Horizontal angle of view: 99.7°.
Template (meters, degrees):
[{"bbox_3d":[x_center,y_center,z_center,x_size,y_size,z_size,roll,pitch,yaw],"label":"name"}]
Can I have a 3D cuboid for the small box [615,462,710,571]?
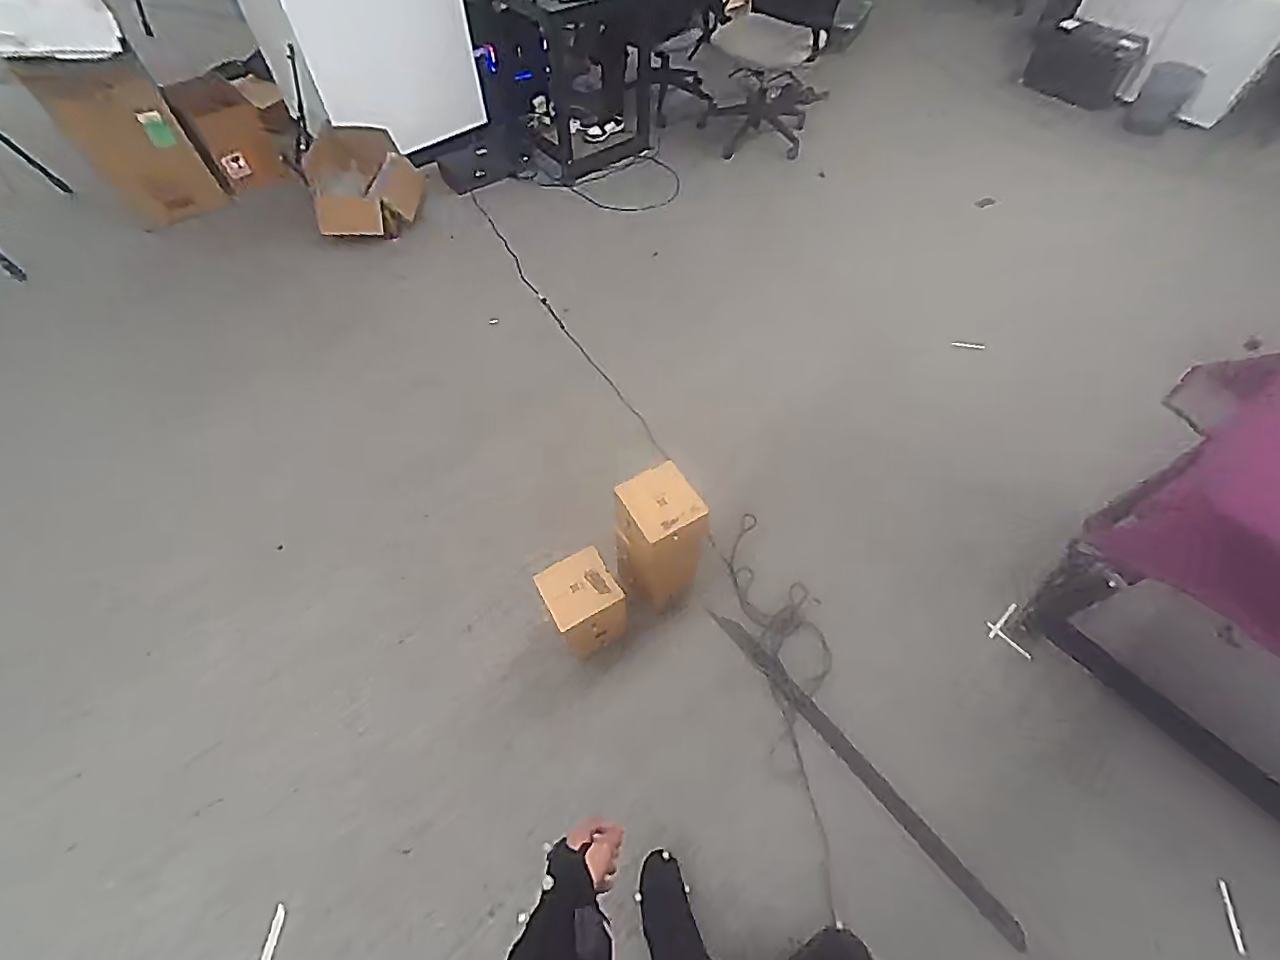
[{"bbox_3d":[0.051,0.093,1.335,0.168,0.176,0.179,-27,60,-16],"label":"small box"}]

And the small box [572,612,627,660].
[{"bbox_3d":[-0.152,0.381,1.535,0.168,0.176,0.179,-31,63,-17],"label":"small box"}]

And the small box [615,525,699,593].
[{"bbox_3d":[0.052,0.178,1.476,0.179,0.176,0.168,-33,63,-19],"label":"small box"}]

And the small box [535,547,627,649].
[{"bbox_3d":[-0.148,0.306,1.388,0.179,0.176,0.168,-27,61,-16],"label":"small box"}]
